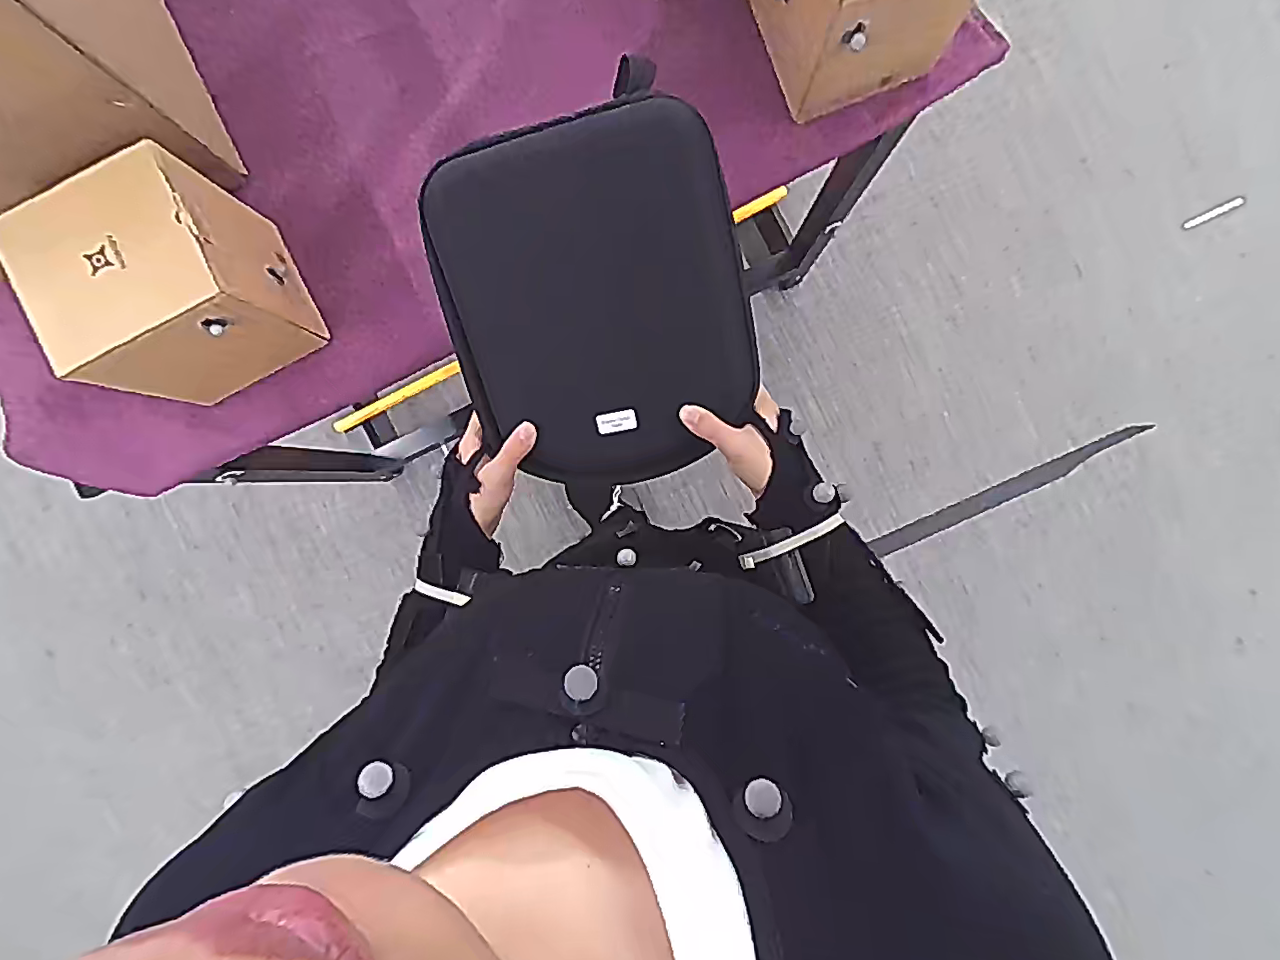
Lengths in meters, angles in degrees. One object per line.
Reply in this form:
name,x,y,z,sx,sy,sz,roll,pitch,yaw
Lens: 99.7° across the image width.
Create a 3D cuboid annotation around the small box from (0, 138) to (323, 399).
small box,-0.492,-0.204,0.579,0.179,0.176,0.168,-28,88,0
